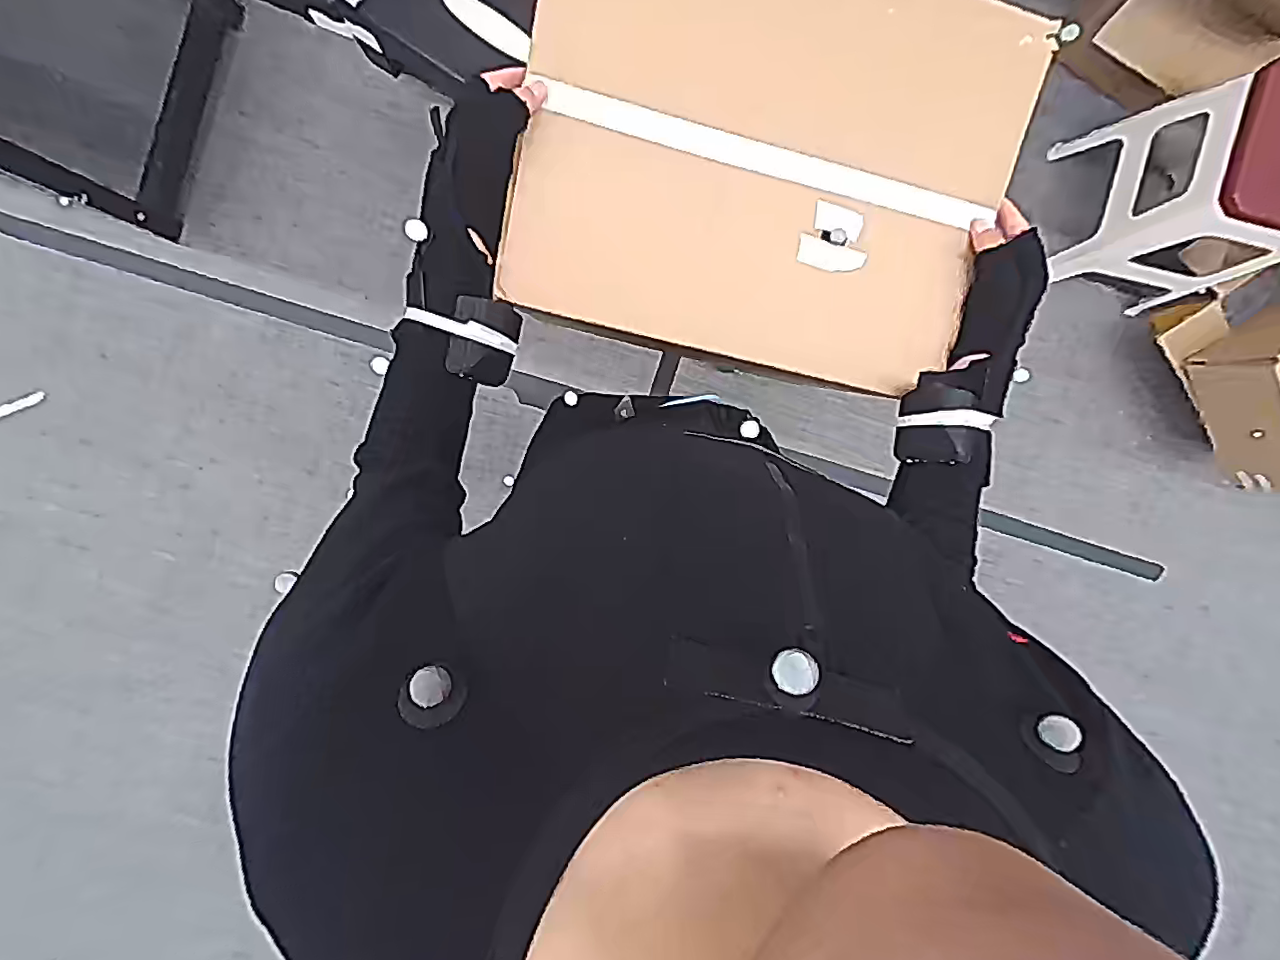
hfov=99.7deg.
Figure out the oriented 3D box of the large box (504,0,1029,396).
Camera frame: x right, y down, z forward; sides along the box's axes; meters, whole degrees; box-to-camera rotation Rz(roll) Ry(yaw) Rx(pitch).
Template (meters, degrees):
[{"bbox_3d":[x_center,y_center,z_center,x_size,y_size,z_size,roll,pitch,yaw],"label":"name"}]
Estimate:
[{"bbox_3d":[0.089,-0.293,0.600,0.408,0.320,0.320,12,102,-9],"label":"large box"}]
